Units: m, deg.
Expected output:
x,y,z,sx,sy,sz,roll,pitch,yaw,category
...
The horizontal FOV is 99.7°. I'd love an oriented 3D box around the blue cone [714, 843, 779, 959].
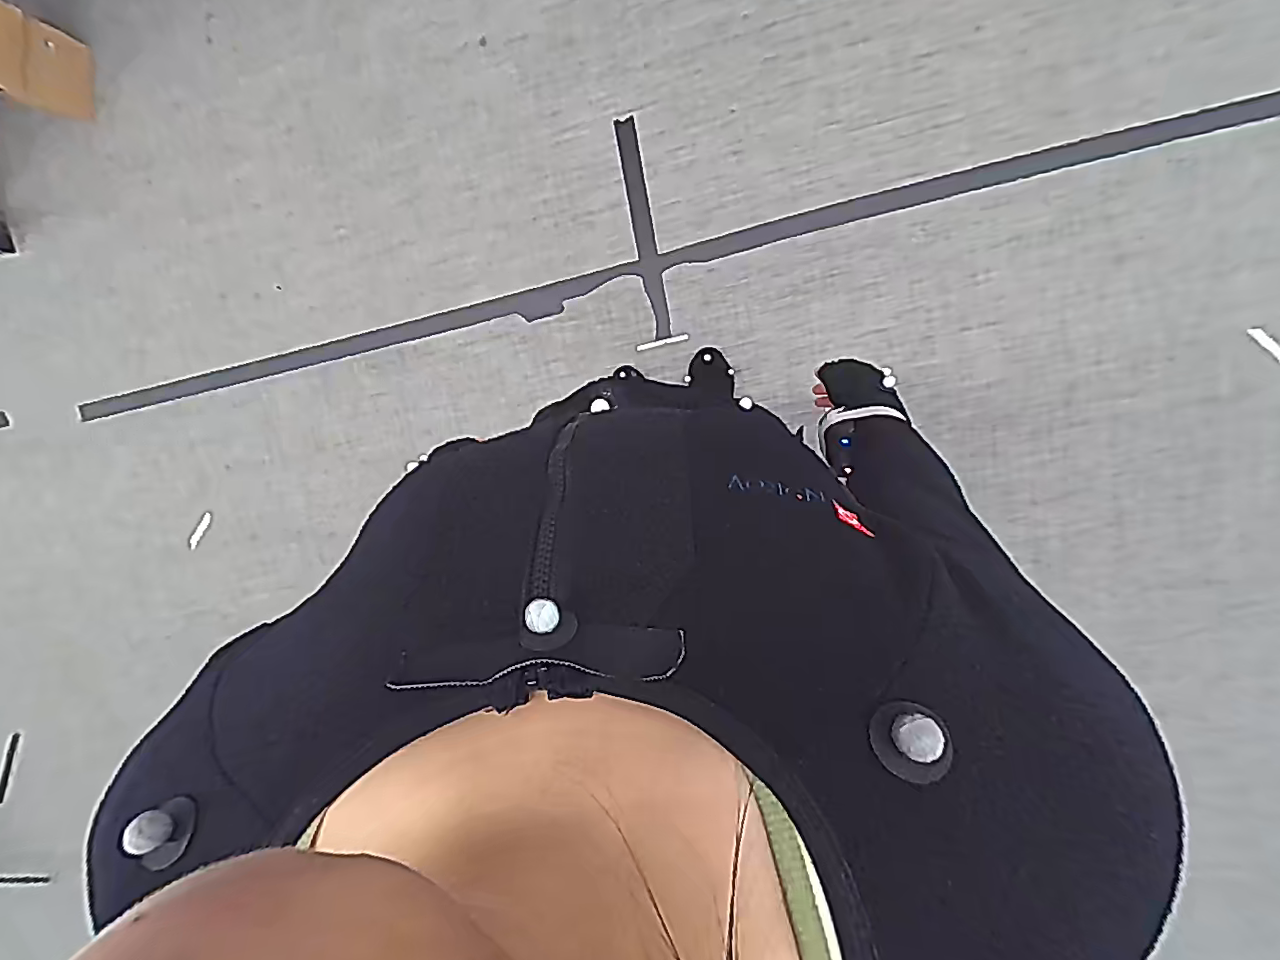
x,y,z,sx,sy,sz,roll,pitch,yaw,category
0.318,1.256,1.536,0.193,0.380,0.192,-7,102,8,blue cone
